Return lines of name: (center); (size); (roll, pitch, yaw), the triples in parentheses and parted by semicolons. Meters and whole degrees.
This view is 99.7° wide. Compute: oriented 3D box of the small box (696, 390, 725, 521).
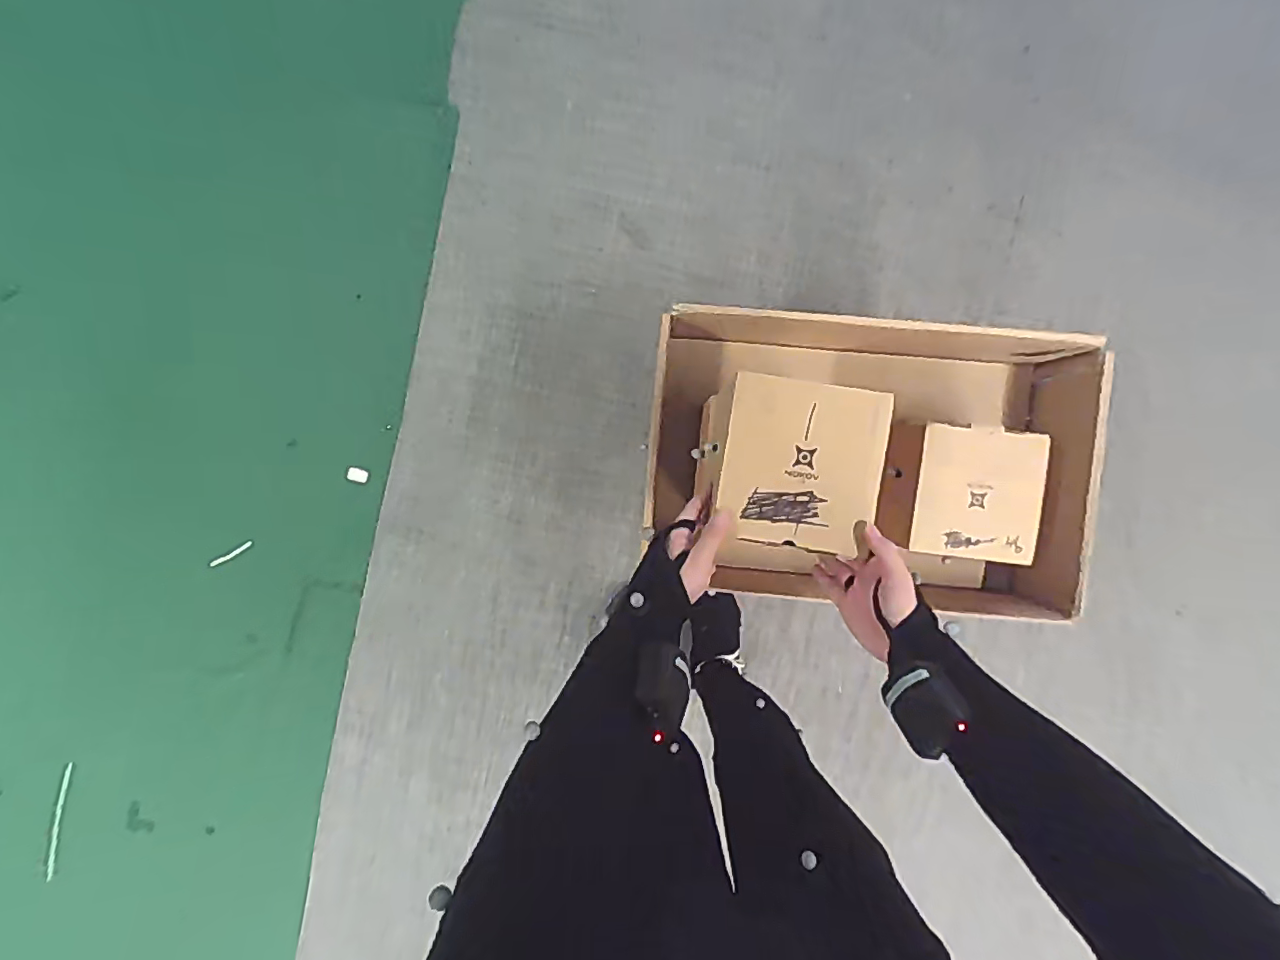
small box: (0.175, -0.026, 0.789); (0.168, 0.176, 0.179); (6, 91, 2)

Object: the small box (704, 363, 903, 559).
small box: (0.171, -0.022, 0.625); (0.168, 0.176, 0.179); (10, 91, 1)
